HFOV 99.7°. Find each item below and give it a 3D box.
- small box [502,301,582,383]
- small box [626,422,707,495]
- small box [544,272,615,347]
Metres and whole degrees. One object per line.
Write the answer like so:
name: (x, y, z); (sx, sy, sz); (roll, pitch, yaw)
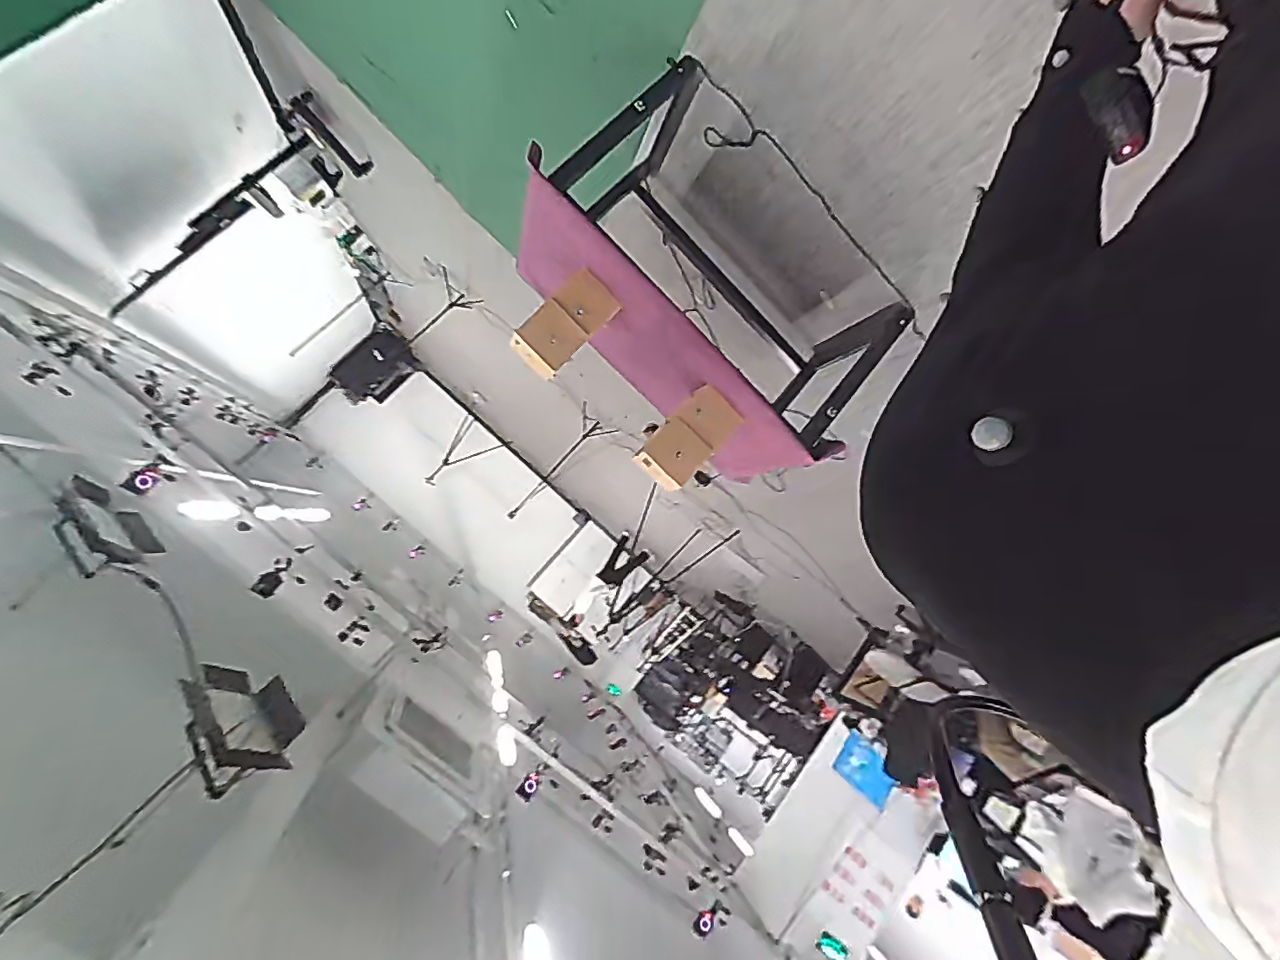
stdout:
small box: (-0.315, -0.444, 1.746); (0.179, 0.176, 0.168); (43, 164, -15)
small box: (0.088, -0.075, 1.794); (0.179, 0.176, 0.168); (43, 164, -8)
small box: (-0.216, -0.564, 1.801); (0.179, 0.176, 0.168); (44, 164, -15)
